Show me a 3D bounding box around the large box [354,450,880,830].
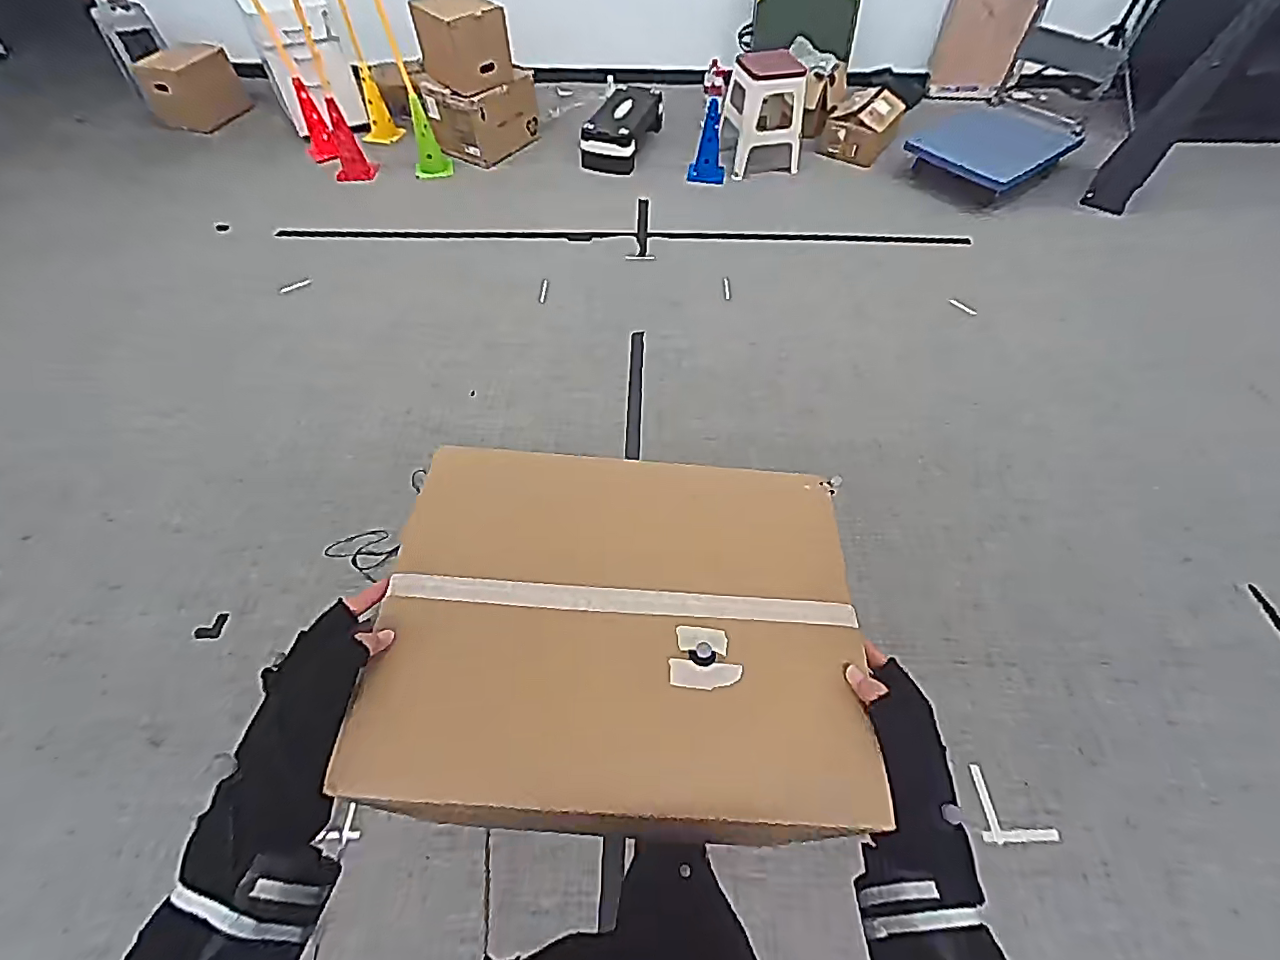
[{"bbox_3d":[-0.020,0.192,0.608,0.408,0.320,0.320,5,54,-1],"label":"large box"}]
